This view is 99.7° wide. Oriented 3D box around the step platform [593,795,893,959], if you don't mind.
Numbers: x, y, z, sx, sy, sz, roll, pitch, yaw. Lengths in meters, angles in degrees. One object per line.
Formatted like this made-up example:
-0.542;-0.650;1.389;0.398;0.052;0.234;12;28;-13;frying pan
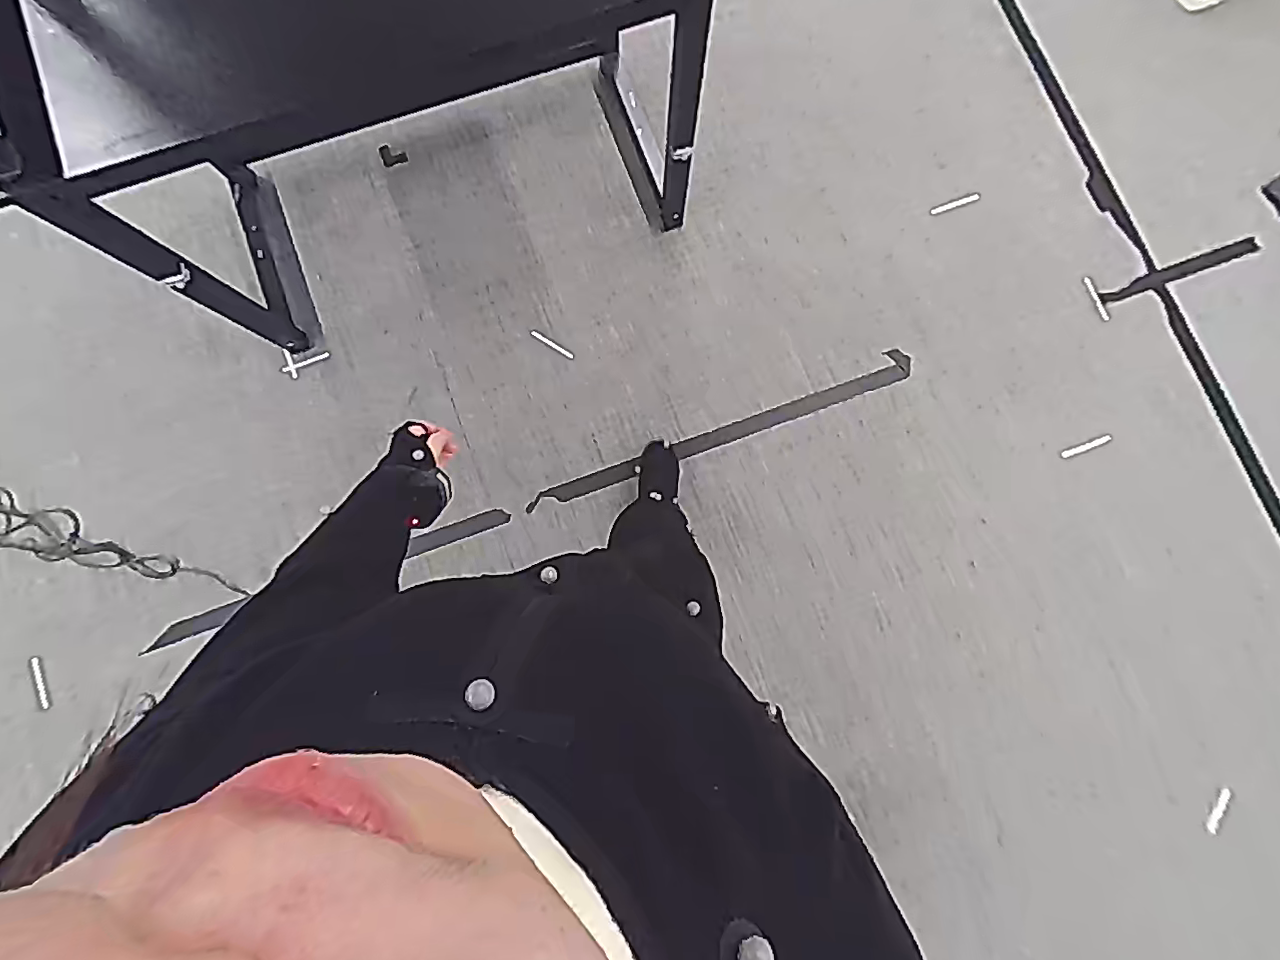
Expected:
0.232;1.016;1.292;0.684;0.204;0.286;-14;84;-3;step platform
